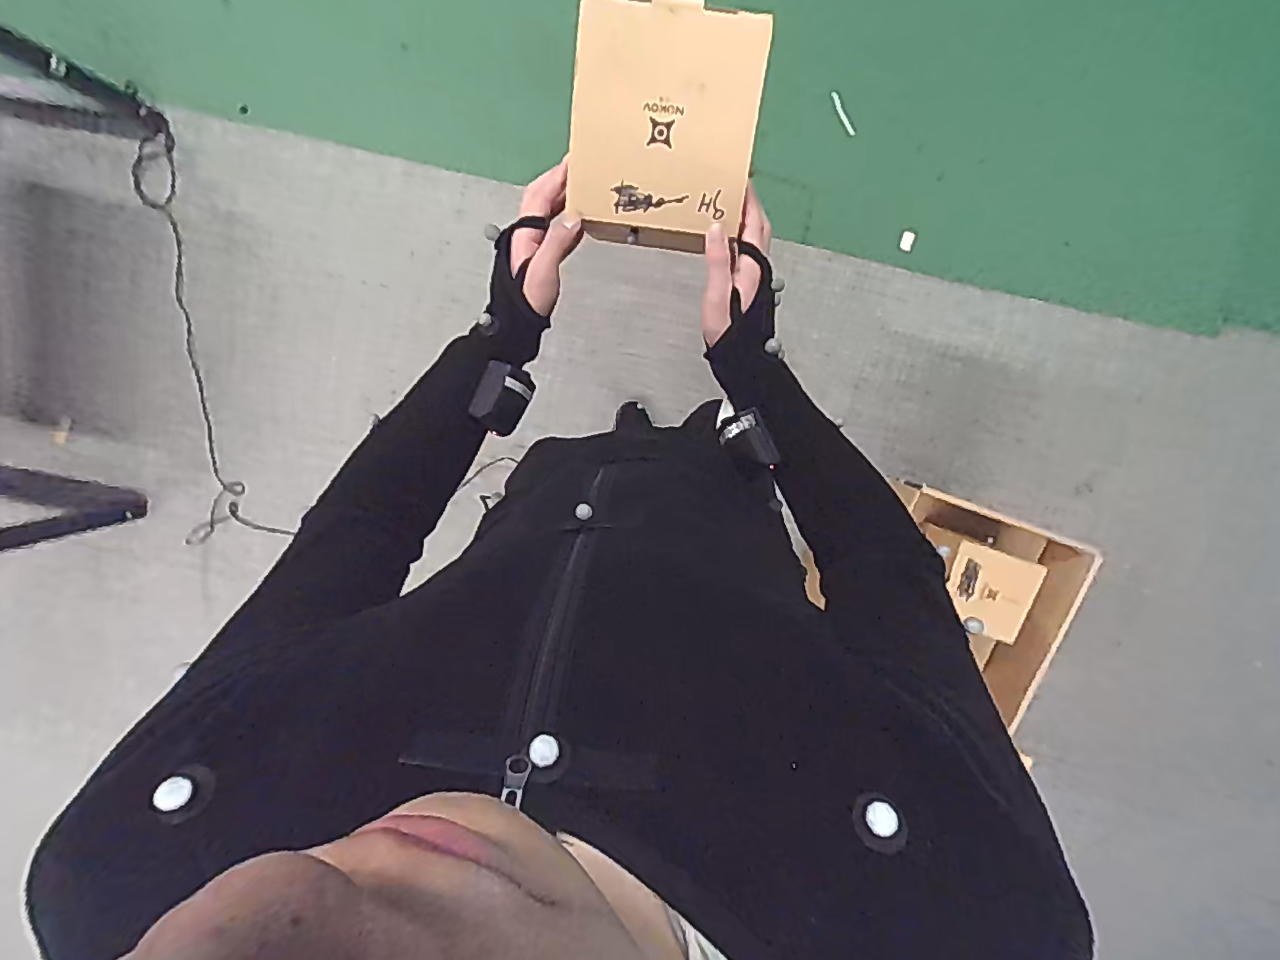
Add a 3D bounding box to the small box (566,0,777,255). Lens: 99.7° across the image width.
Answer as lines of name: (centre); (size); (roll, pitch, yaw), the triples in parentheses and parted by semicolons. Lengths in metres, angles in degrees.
small box: (0.026, -0.338, 0.548); (0.168, 0.176, 0.179); (8, 108, 1)
